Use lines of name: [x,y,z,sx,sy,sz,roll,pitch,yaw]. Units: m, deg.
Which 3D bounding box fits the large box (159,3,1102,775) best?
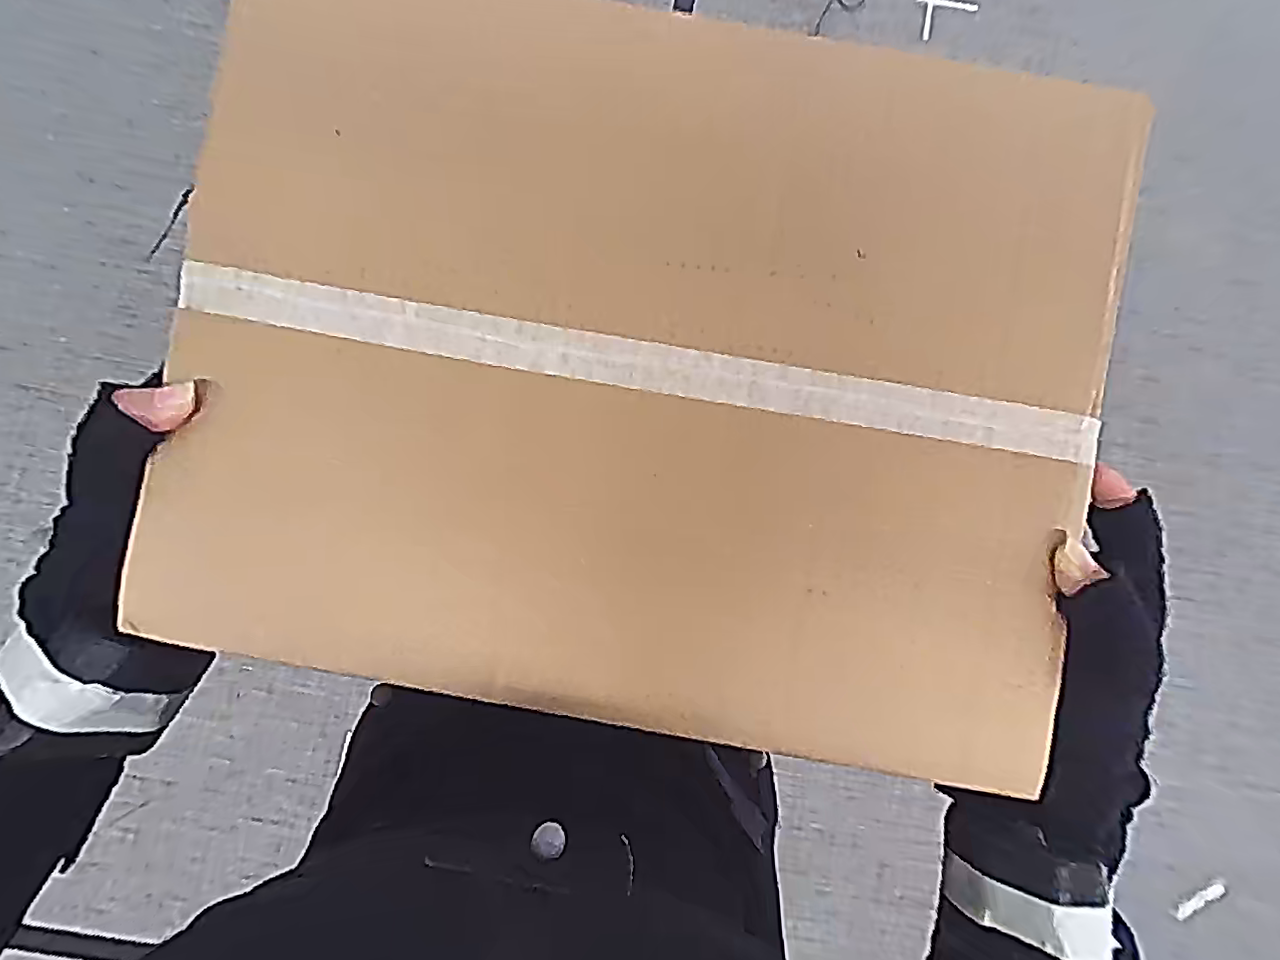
large box: [-0.002,-0.042,0.399,0.408,0.320,0.320,10,88,0]
